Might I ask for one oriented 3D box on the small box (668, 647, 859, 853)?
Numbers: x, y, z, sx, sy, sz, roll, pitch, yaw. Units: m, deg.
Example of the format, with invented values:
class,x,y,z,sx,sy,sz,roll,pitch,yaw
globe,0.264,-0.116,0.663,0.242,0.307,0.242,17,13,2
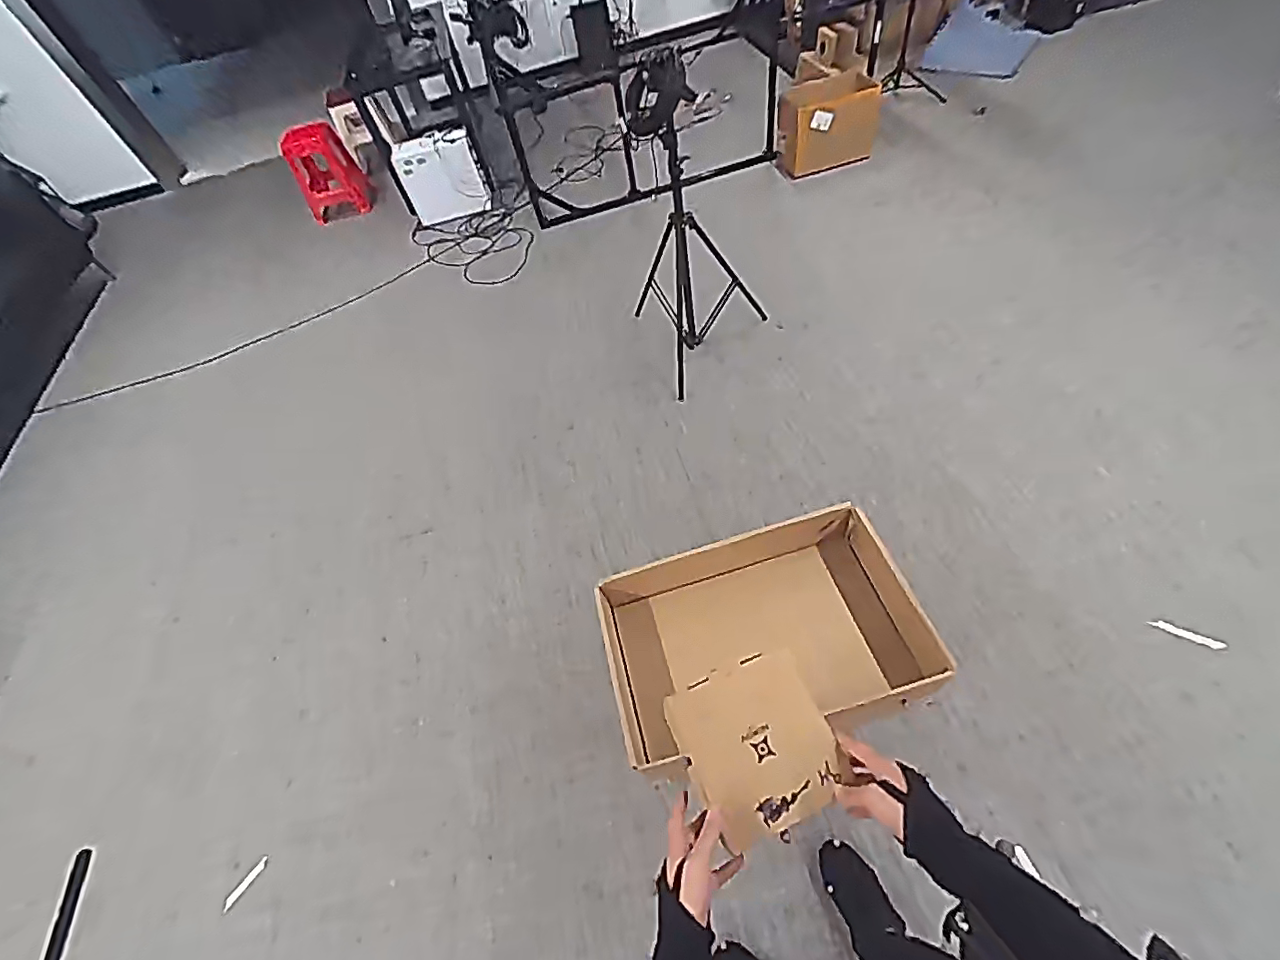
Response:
class,x,y,z,sx,sy,sz,roll,pitch,yaw
small box,0.142,0.346,0.700,0.168,0.176,0.179,-22,62,-10
